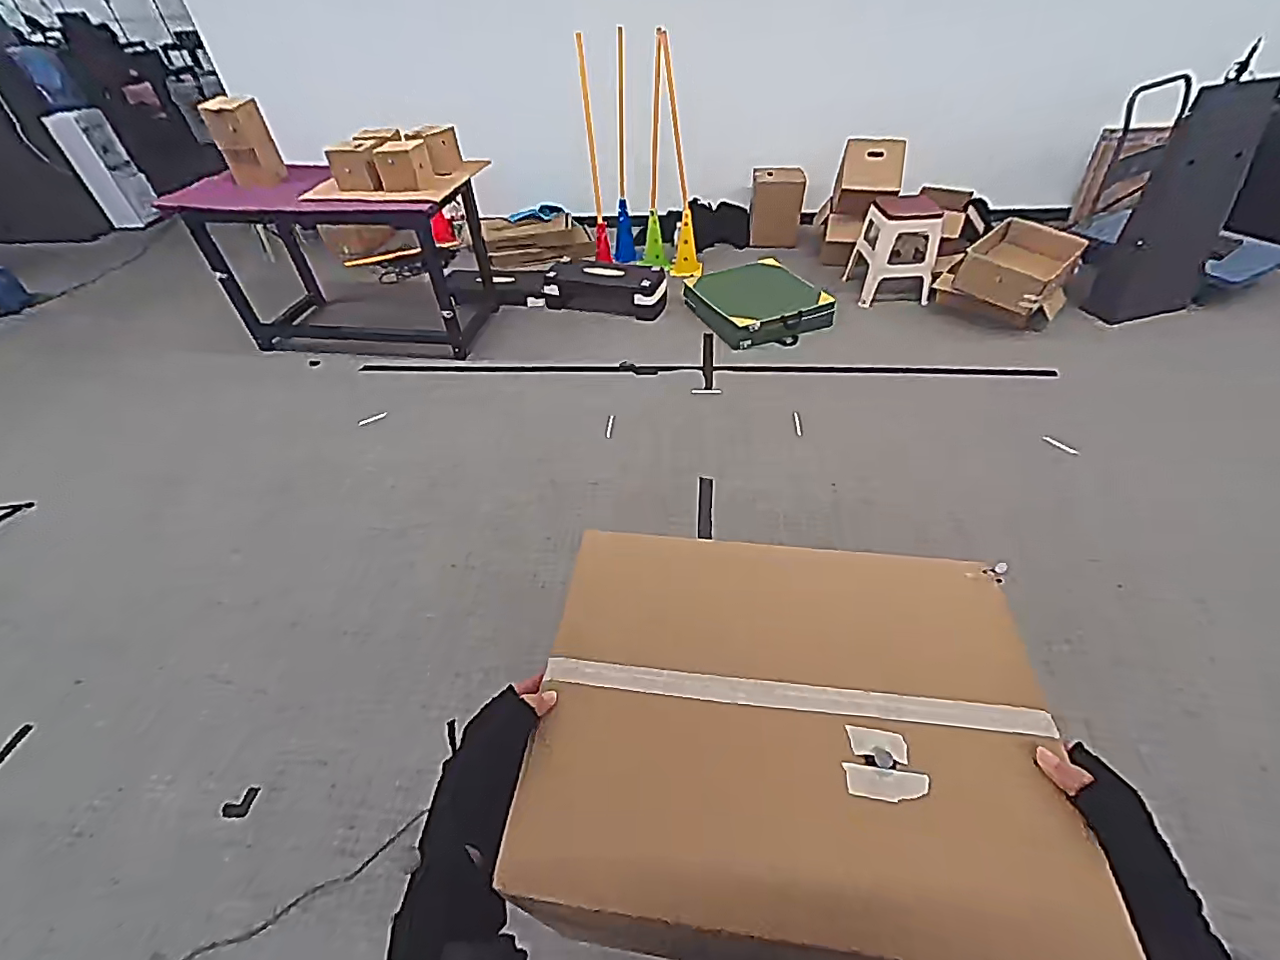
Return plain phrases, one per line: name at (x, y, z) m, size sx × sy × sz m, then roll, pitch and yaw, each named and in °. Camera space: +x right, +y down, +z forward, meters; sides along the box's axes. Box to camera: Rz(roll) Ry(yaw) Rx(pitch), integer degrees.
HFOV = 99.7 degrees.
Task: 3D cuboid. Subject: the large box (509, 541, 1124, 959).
large box at (0.125, 0.290, 0.558) m, size 0.408 × 0.320 × 0.320 m, roll 4°, pitch 47°, yaw 7°
